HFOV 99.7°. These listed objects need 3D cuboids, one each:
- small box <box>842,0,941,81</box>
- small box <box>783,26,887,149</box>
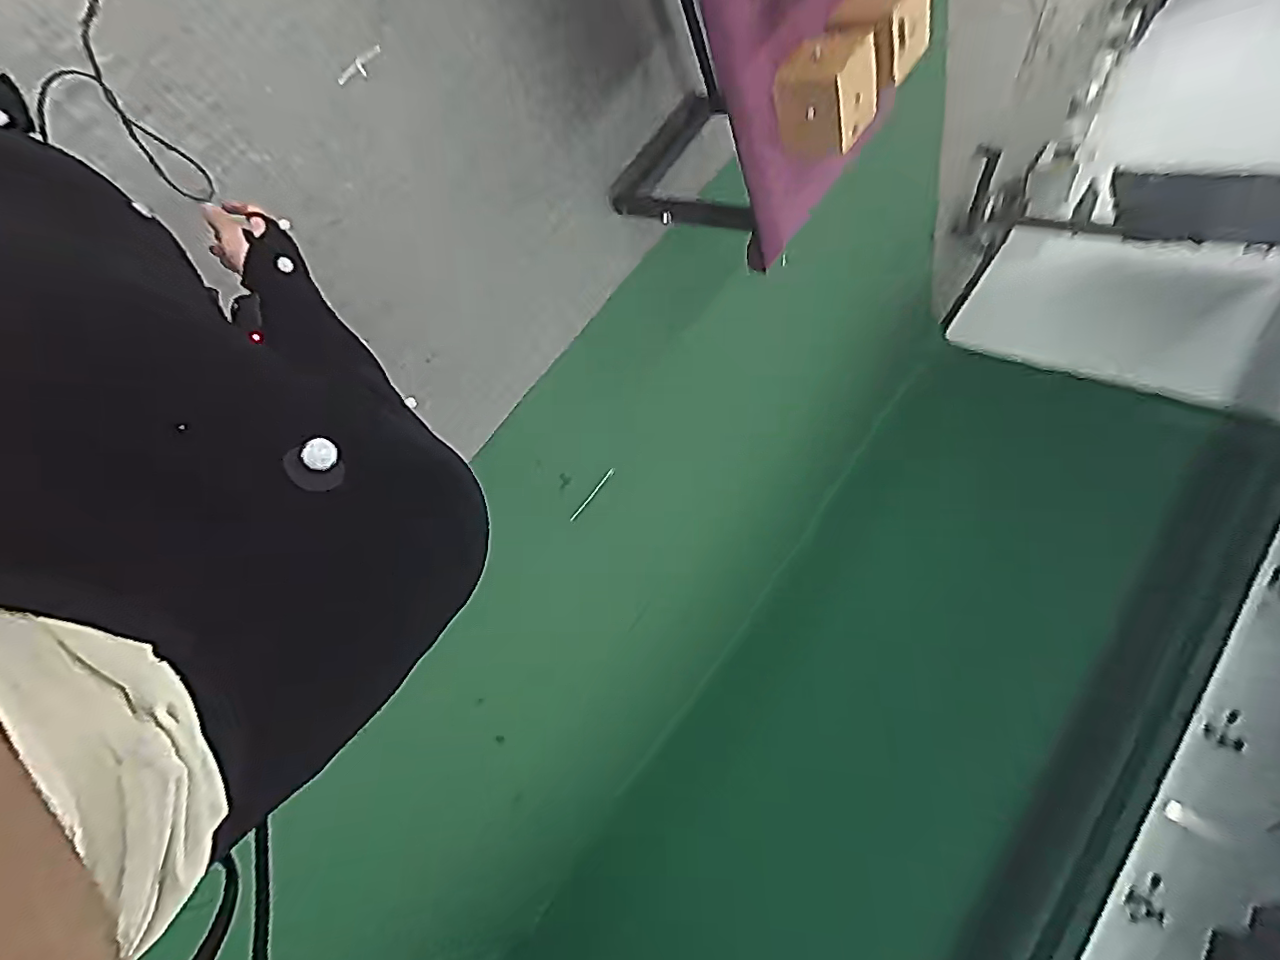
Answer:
[{"bbox_3d":[0.608,-1.103,1.317,0.179,0.176,0.168,-53,143,-12],"label":"small box"},{"bbox_3d":[0.456,-0.910,1.269,0.168,0.176,0.179,-52,142,-12],"label":"small box"}]
